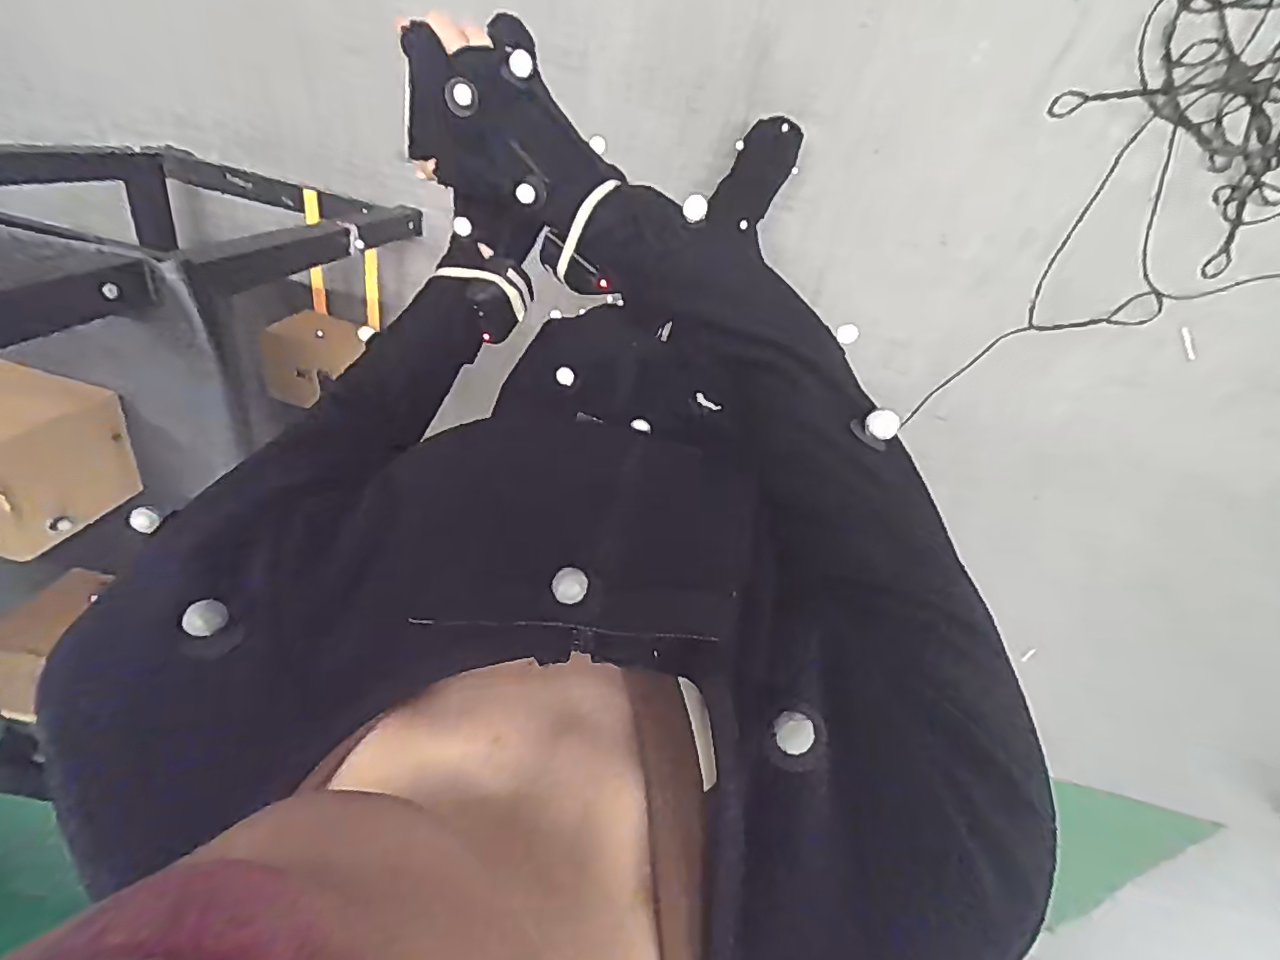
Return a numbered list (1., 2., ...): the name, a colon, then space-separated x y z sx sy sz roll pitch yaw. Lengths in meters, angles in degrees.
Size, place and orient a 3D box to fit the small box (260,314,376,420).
1. small box: -0.734 -0.266 1.250 0.179 0.176 0.168 16 120 -6
